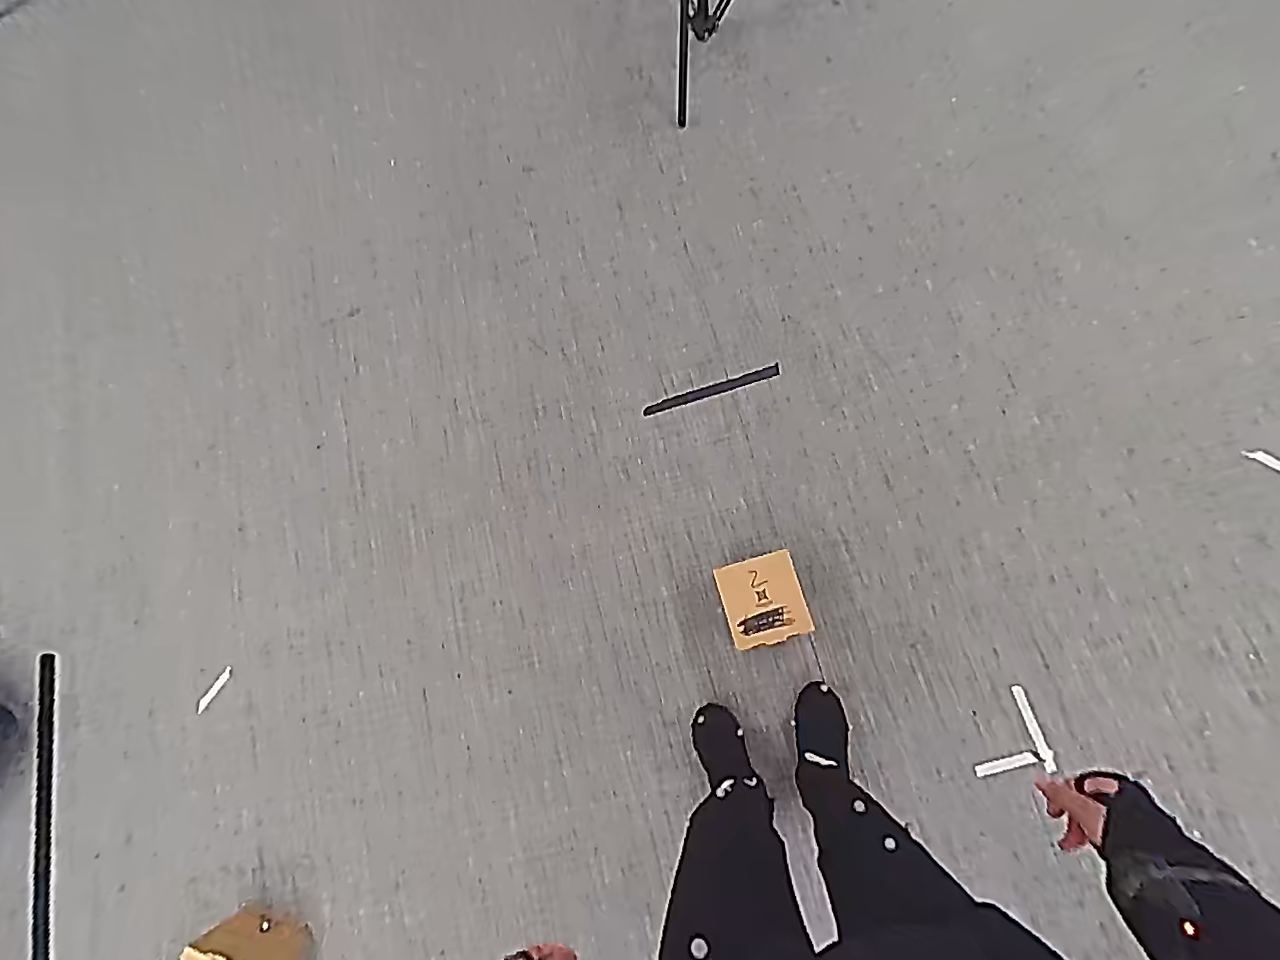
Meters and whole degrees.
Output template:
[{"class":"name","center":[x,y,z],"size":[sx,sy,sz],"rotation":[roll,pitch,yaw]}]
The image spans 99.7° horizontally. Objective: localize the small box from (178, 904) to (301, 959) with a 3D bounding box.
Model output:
[{"class":"small box","center":[-0.895,1.097,1.194],"size":[0.168,0.176,0.179],"rotation":[9,79,11]}]
